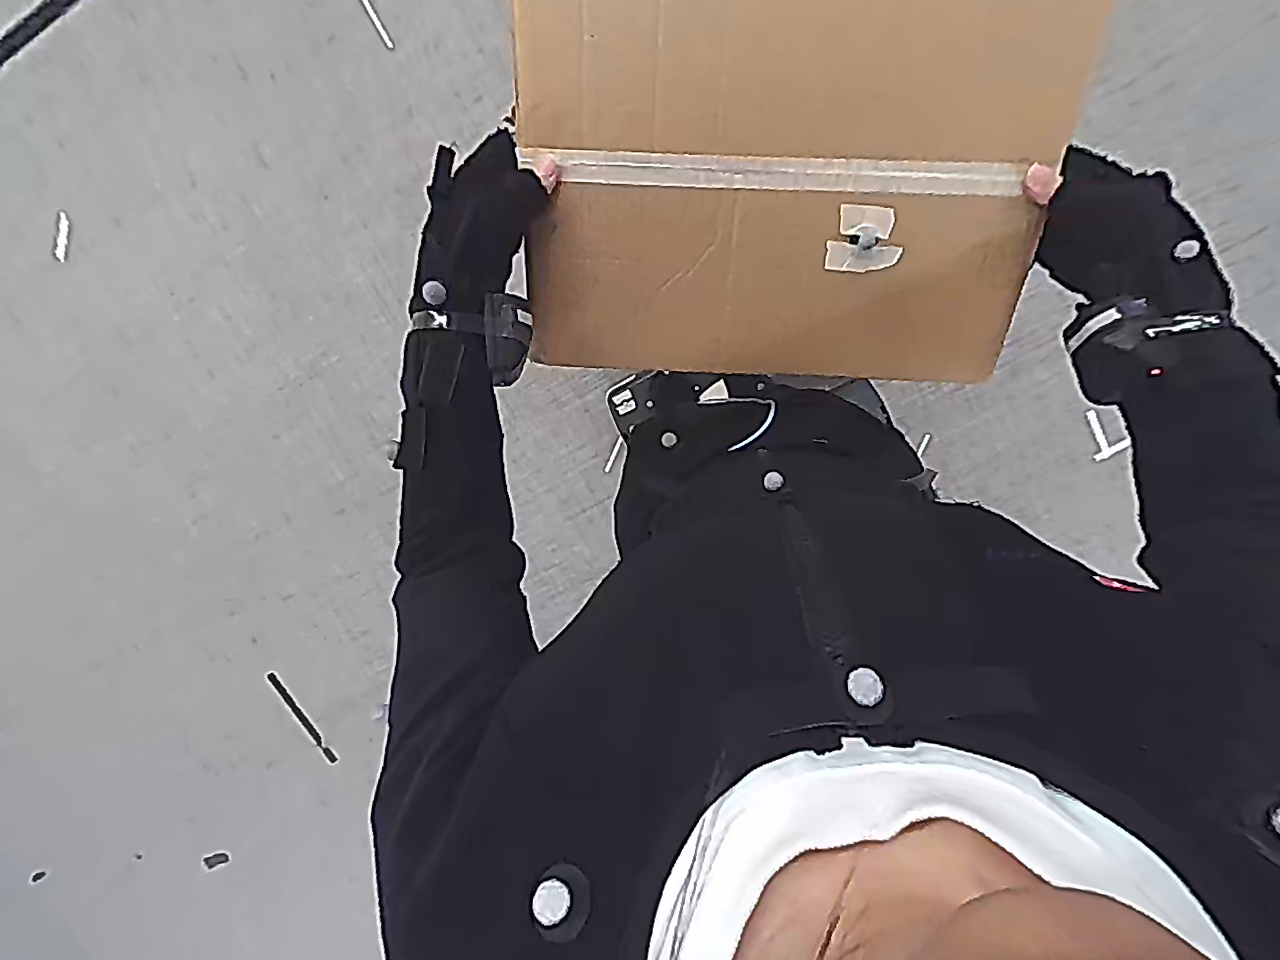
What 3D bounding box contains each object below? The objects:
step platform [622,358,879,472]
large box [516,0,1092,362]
[{"bbox_3d":[0.293,-0.295,1.473,0.684,0.204,0.286,-29,102,8],"label":"step platform"},{"bbox_3d":[0.112,-0.311,0.551,0.408,0.320,0.320,1,118,0],"label":"large box"}]
